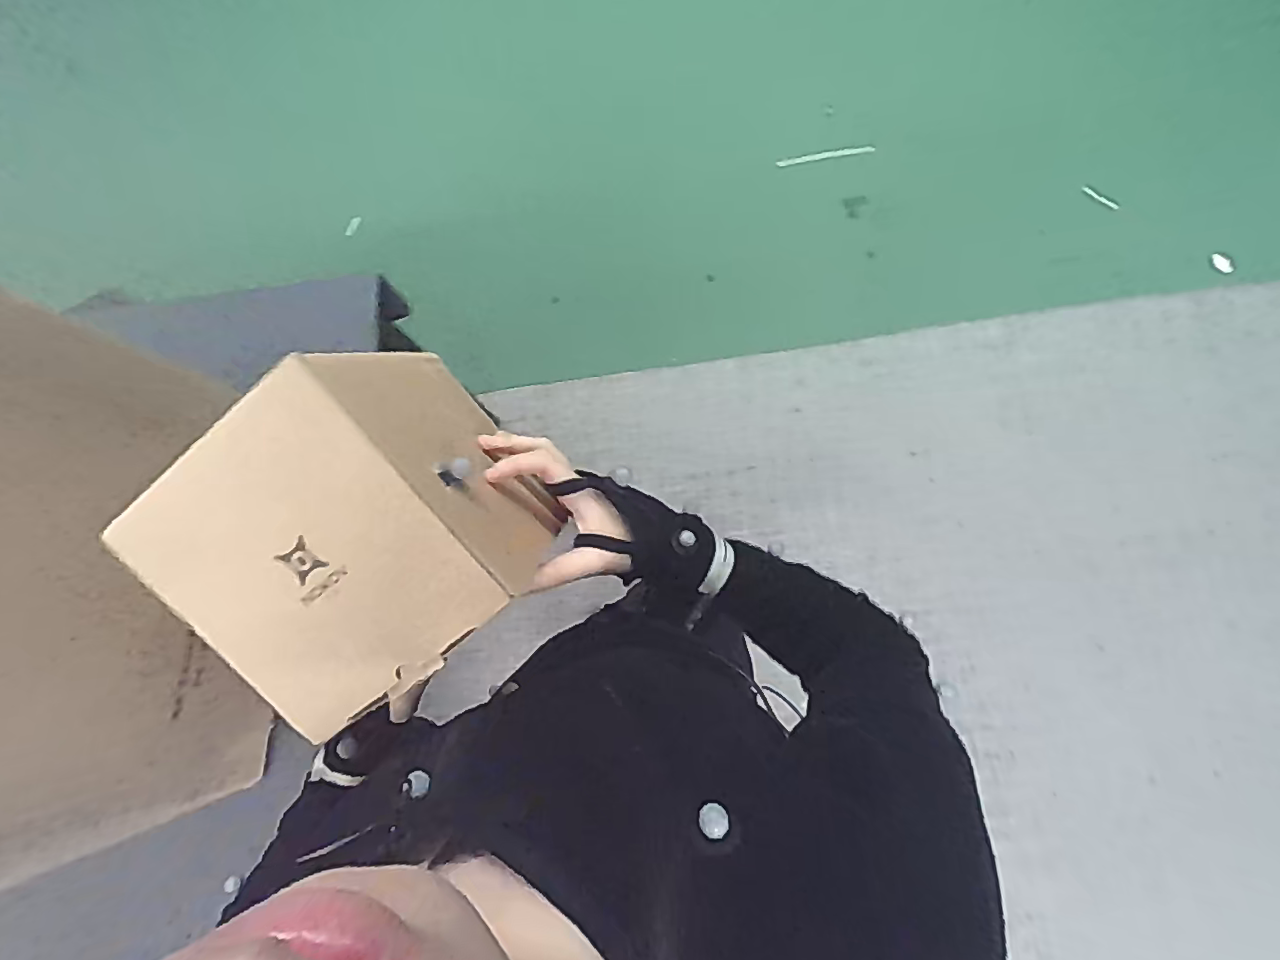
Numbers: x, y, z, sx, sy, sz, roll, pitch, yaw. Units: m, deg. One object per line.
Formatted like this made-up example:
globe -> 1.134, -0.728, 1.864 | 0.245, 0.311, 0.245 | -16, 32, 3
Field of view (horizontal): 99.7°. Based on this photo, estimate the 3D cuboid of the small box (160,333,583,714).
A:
small box -> -0.163, 0.019, 0.393 | 0.168, 0.176, 0.179 | -36, 98, 9
